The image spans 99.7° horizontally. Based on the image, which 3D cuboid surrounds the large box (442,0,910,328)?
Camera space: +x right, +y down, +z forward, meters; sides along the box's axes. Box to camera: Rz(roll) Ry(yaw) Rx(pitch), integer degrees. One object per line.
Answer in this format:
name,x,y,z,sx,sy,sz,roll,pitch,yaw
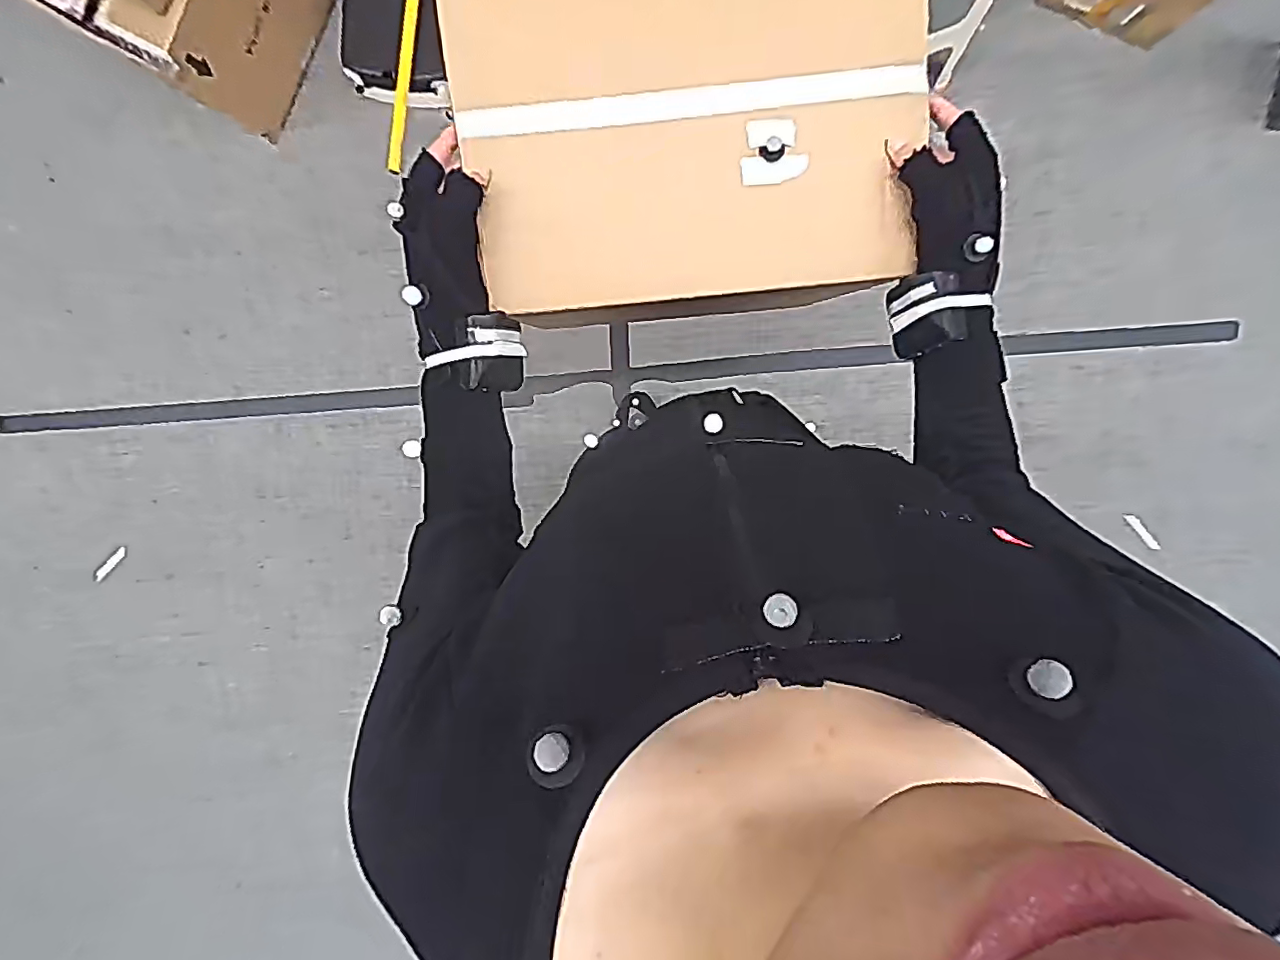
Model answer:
large box,0.034,-0.363,0.622,0.408,0.320,0.320,-5,103,0
